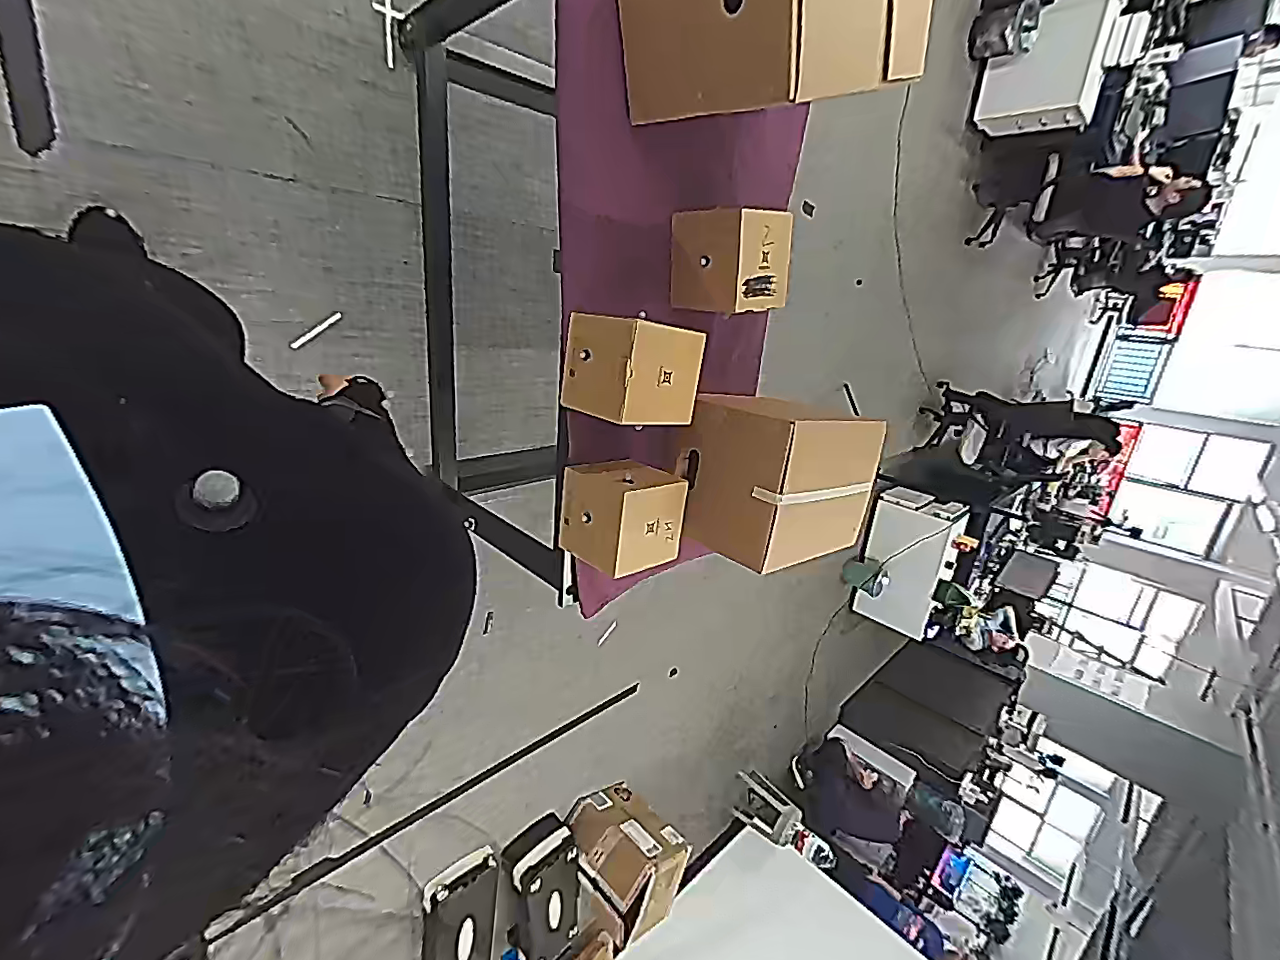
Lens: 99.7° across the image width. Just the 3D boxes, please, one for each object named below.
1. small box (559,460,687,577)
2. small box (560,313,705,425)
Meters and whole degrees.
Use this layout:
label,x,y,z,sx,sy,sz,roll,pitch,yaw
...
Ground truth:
label,x,y,z,sx,sy,sz,roll,pitch,yaw
small box,-0.038,0.064,1.043,0.179,0.176,0.168,-9,113,-46
small box,-0.015,-0.196,0.958,0.179,0.176,0.168,-5,110,-45
